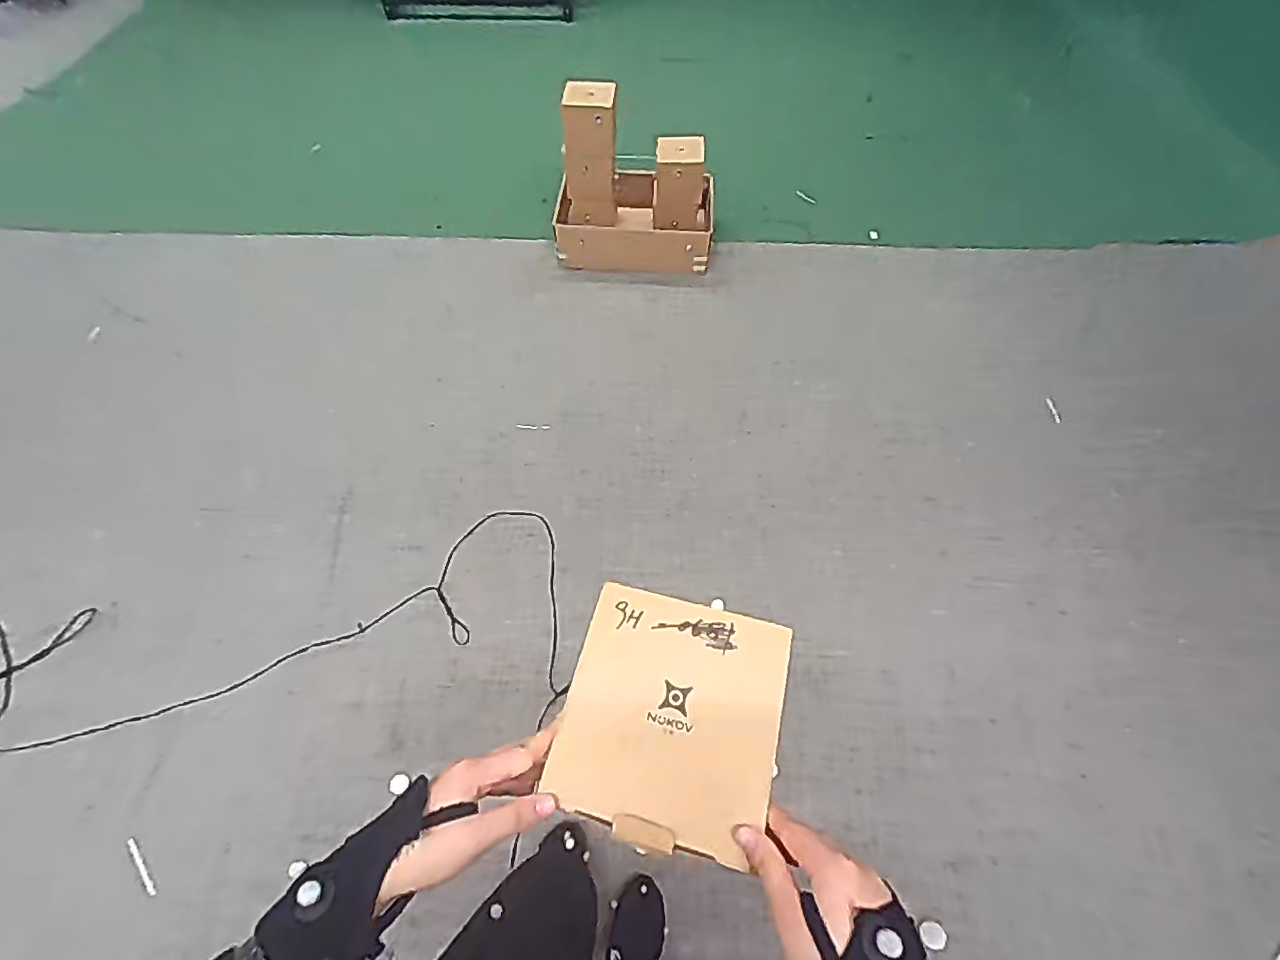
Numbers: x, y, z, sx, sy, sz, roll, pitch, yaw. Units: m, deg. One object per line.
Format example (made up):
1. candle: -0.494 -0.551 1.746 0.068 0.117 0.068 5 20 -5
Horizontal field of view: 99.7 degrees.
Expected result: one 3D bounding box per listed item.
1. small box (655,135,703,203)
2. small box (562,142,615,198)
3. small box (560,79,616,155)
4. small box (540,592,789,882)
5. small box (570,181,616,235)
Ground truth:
1. small box: 0.146 -1.170 2.040 0.179 0.176 0.168 1 62 2
2. small box: -0.190 -1.200 2.057 0.179 0.176 0.168 4 60 0
3. small box: -0.178 -1.281 1.913 0.179 0.176 0.168 3 60 1
4. small box: 0.029 0.227 0.497 0.168 0.176 0.179 12 63 10
5. small box: -0.186 -1.126 2.204 0.168 0.176 0.179 3 60 1
